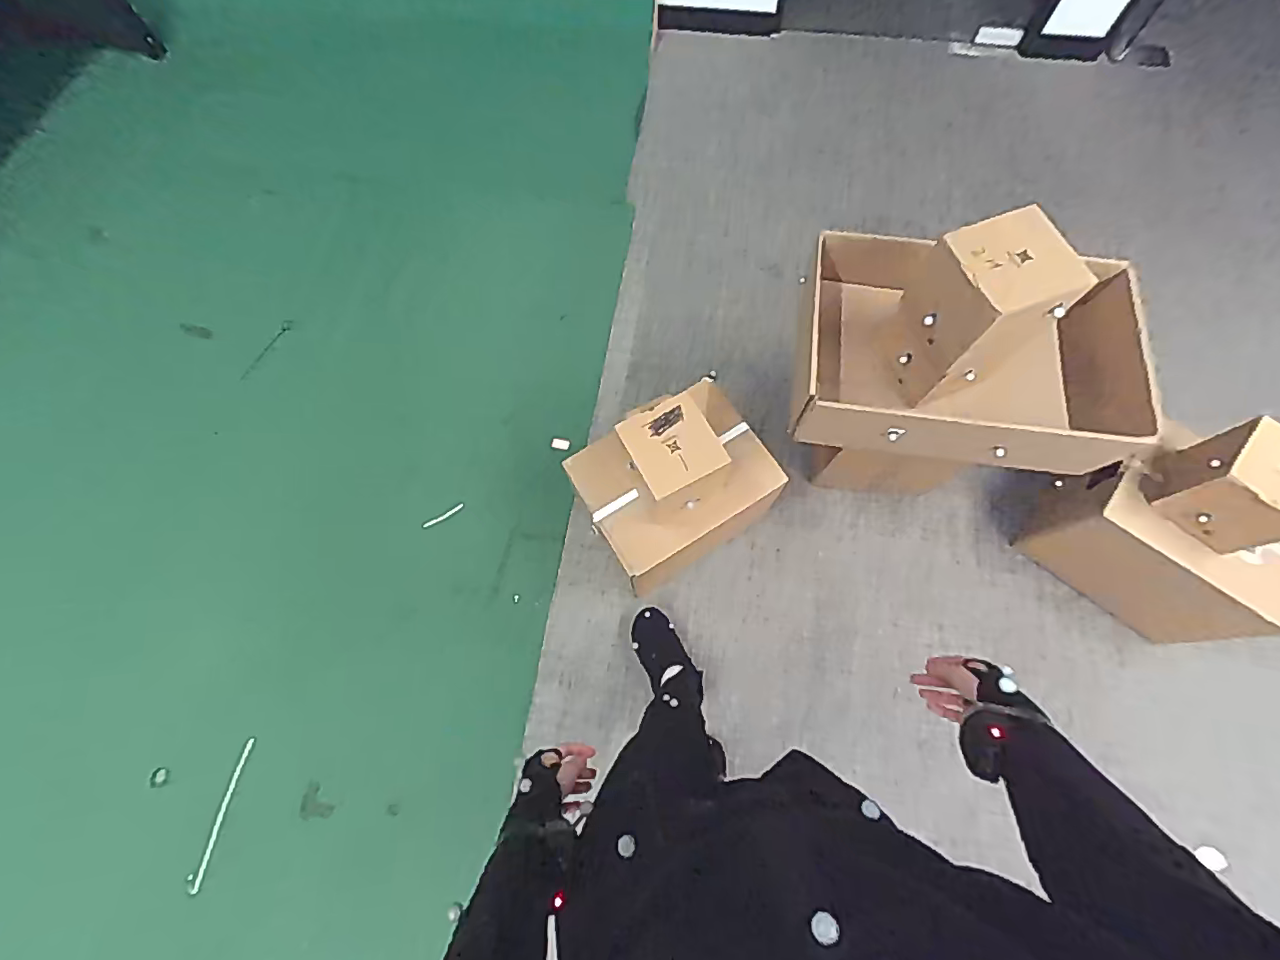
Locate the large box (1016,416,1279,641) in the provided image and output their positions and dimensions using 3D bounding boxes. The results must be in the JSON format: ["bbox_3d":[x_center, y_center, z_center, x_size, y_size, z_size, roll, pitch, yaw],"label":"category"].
[{"bbox_3d":[1.224,0.127,1.276,0.408,0.320,0.320,38,75,12],"label":"large box"}]

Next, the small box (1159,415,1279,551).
[{"bbox_3d":[1.192,0.011,1.059,0.168,0.176,0.179,41,75,14],"label":"small box"}]

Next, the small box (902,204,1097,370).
[{"bbox_3d":[0.581,-0.313,0.901,0.179,0.176,0.168,-20,70,-5],"label":"small box"}]

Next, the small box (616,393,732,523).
[{"bbox_3d":[0.063,-0.039,1.097,0.168,0.176,0.179,-27,72,-8],"label":"small box"}]
